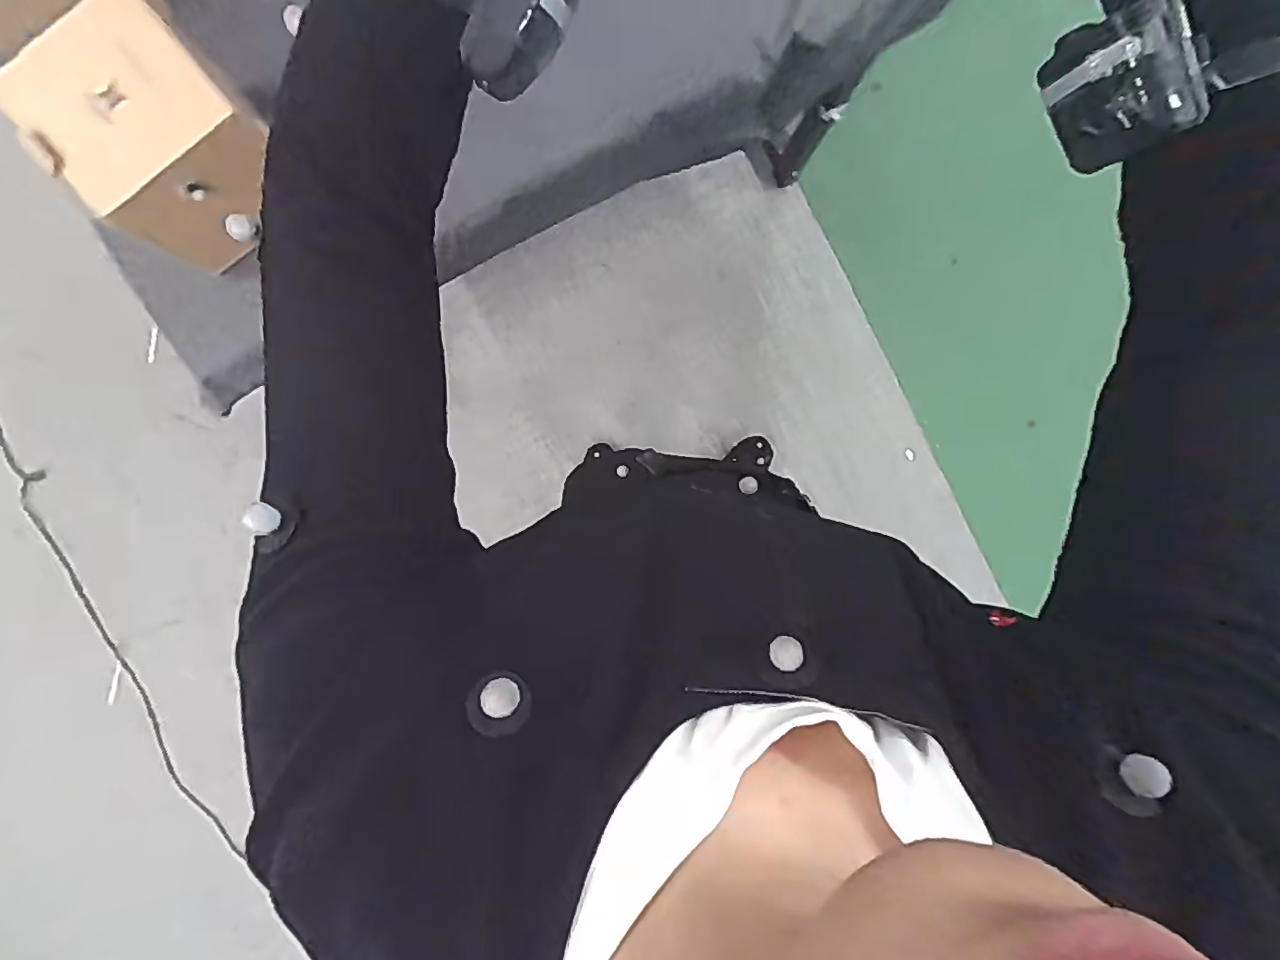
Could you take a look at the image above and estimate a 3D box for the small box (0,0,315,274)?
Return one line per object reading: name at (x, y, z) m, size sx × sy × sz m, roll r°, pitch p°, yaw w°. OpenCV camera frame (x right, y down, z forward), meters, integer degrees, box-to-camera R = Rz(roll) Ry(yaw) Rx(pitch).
small box at (-0.523, -0.369, 0.613) m, size 0.179 × 0.176 × 0.168 m, roll -40°, pitch 94°, yaw -2°
